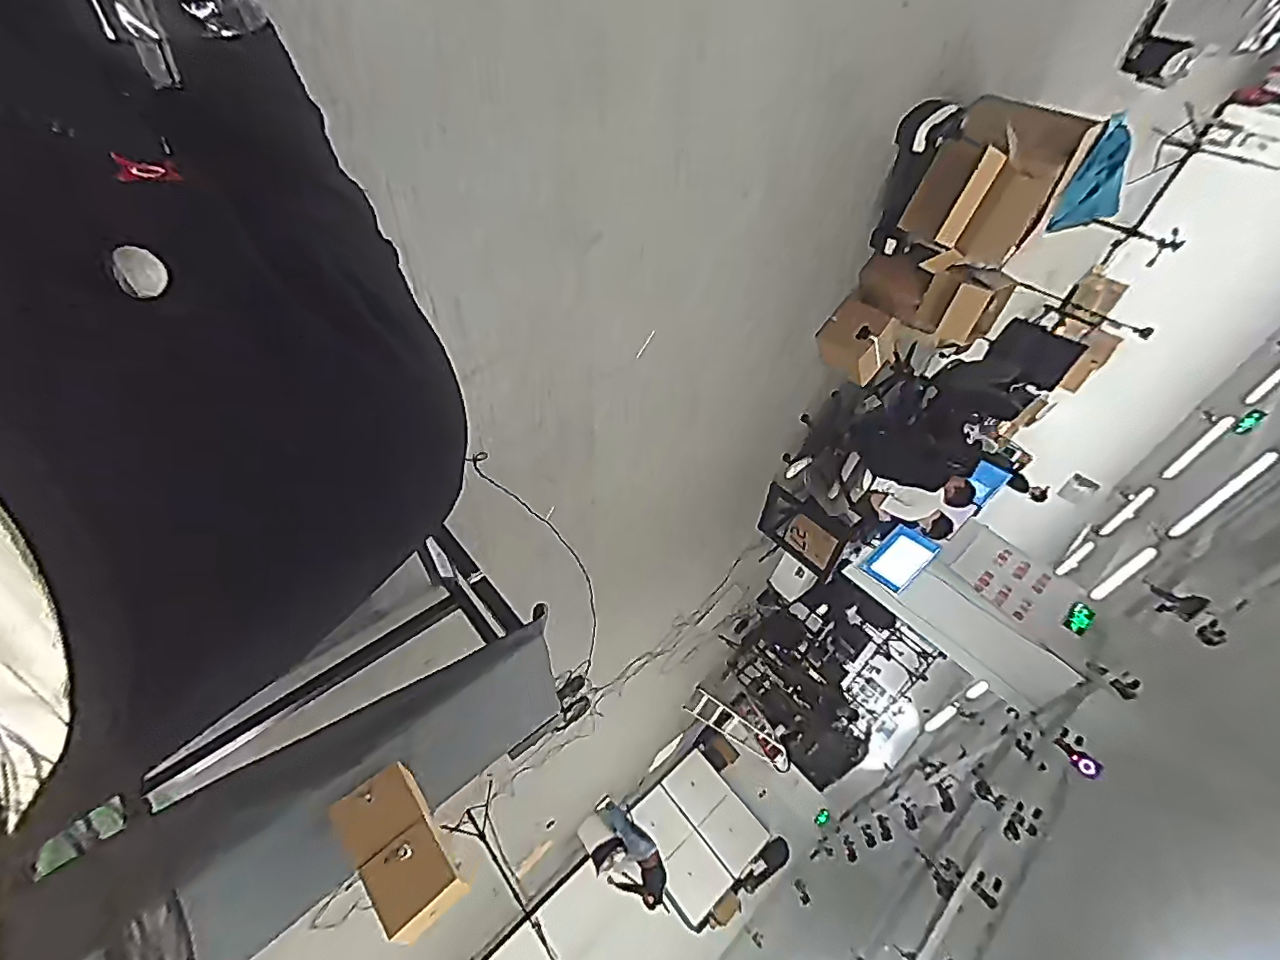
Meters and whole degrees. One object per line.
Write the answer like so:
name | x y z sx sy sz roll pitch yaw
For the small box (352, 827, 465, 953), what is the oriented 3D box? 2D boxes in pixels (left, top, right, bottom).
small box | -0.538 0.955 1.268 0.168 0.176 0.179 -33 146 -29

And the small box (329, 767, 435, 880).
small box | -0.645 0.861 1.347 0.179 0.176 0.168 -30 147 -28
